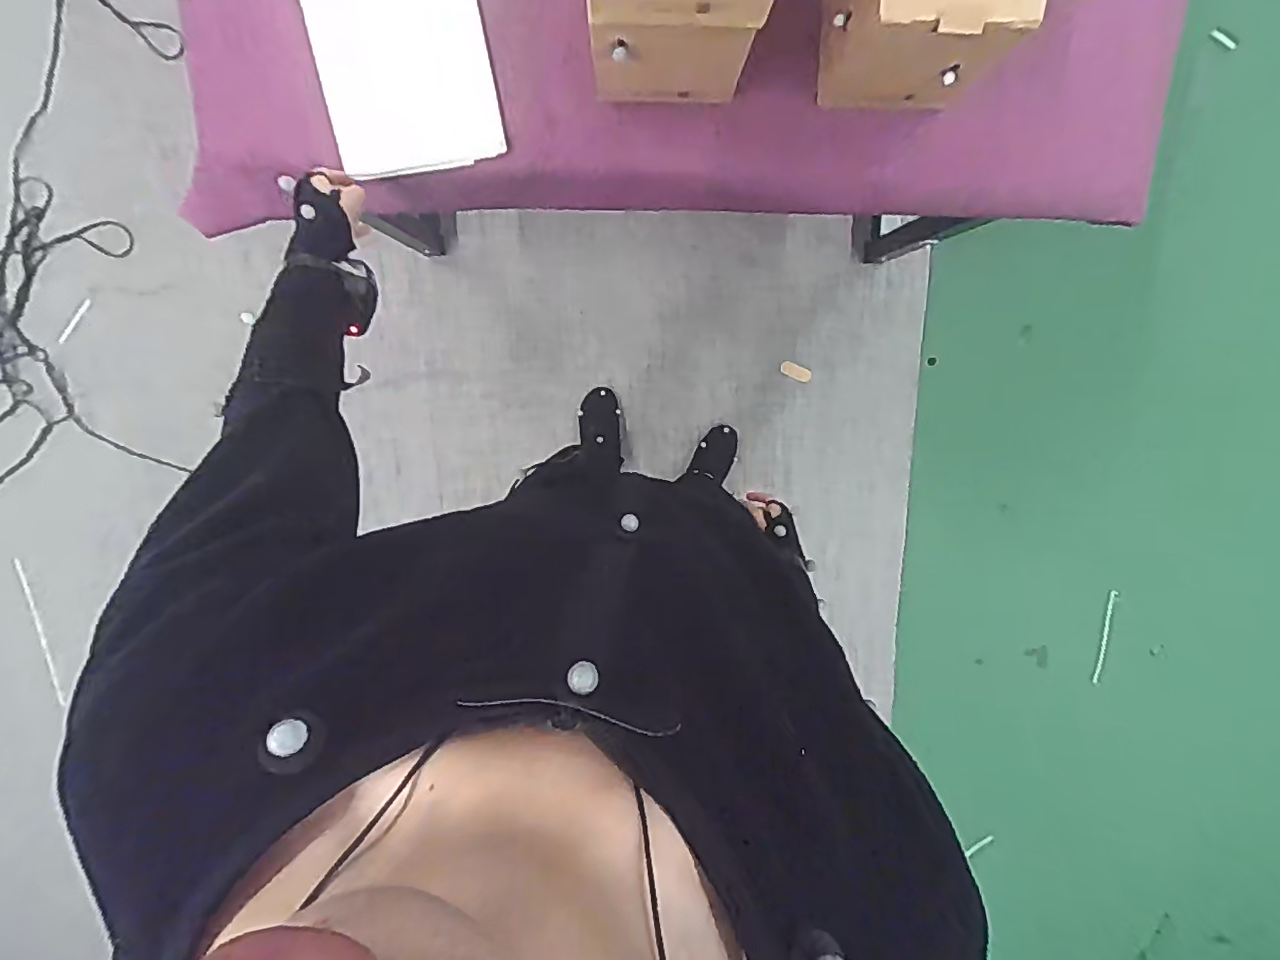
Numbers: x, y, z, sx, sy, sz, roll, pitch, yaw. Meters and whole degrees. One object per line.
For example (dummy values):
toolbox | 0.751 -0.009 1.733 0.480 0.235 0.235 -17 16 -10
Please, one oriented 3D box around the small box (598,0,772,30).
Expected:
small box | 0.041 -0.494 0.419 0.168 0.176 0.179 0 101 -2

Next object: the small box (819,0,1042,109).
small box | 0.306 -0.535 0.587 0.168 0.176 0.179 0 101 -3
